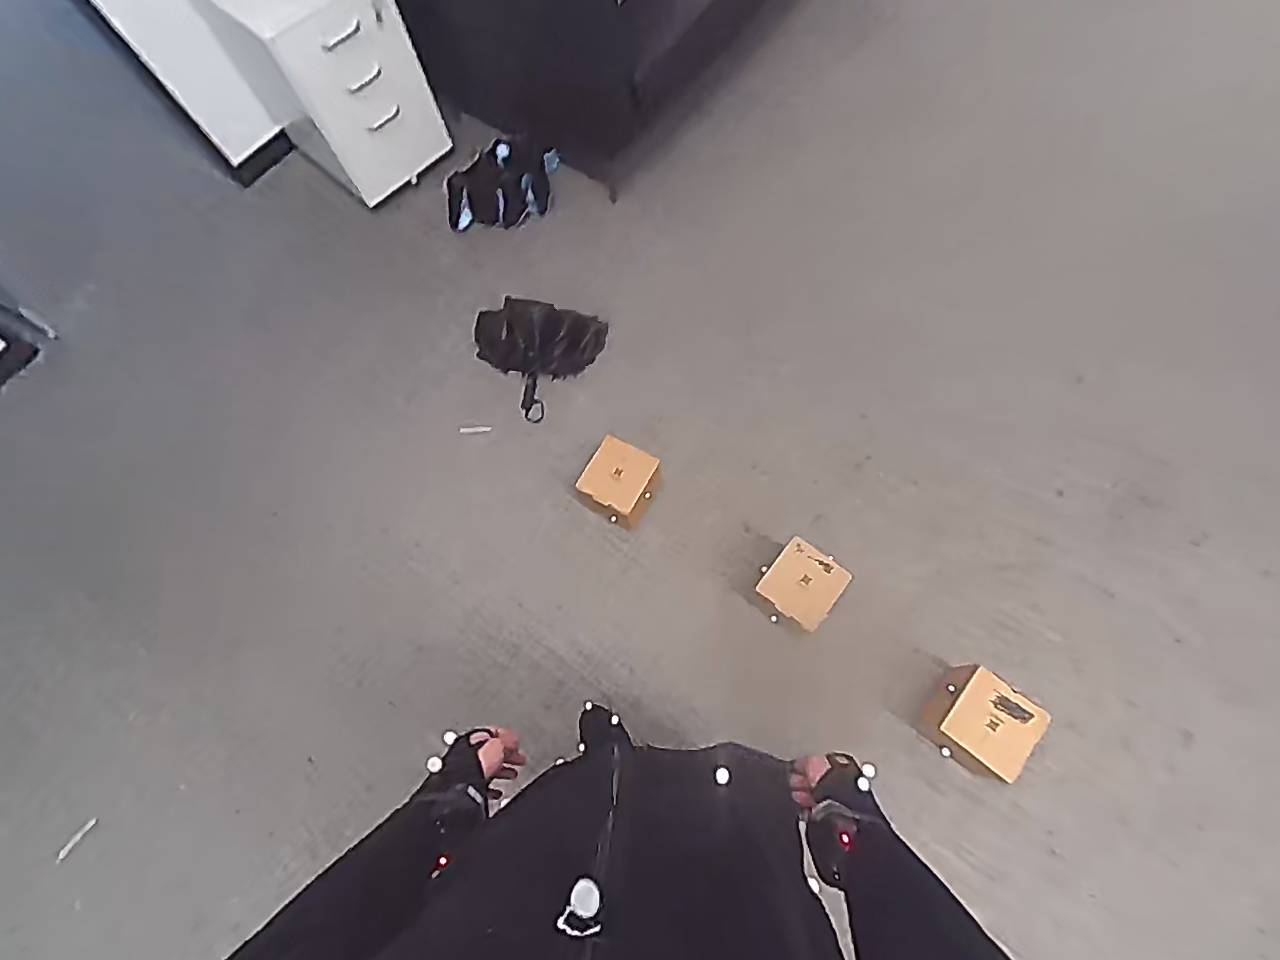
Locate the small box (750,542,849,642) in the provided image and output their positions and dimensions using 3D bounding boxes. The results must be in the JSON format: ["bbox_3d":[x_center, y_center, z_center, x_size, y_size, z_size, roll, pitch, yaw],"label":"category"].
[{"bbox_3d":[0.394,0.290,1.370,0.168,0.176,0.179,37,75,17],"label":"small box"}]

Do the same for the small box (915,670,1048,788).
[{"bbox_3d":[0.764,0.558,1.231,0.168,0.176,0.179,37,77,18],"label":"small box"}]
